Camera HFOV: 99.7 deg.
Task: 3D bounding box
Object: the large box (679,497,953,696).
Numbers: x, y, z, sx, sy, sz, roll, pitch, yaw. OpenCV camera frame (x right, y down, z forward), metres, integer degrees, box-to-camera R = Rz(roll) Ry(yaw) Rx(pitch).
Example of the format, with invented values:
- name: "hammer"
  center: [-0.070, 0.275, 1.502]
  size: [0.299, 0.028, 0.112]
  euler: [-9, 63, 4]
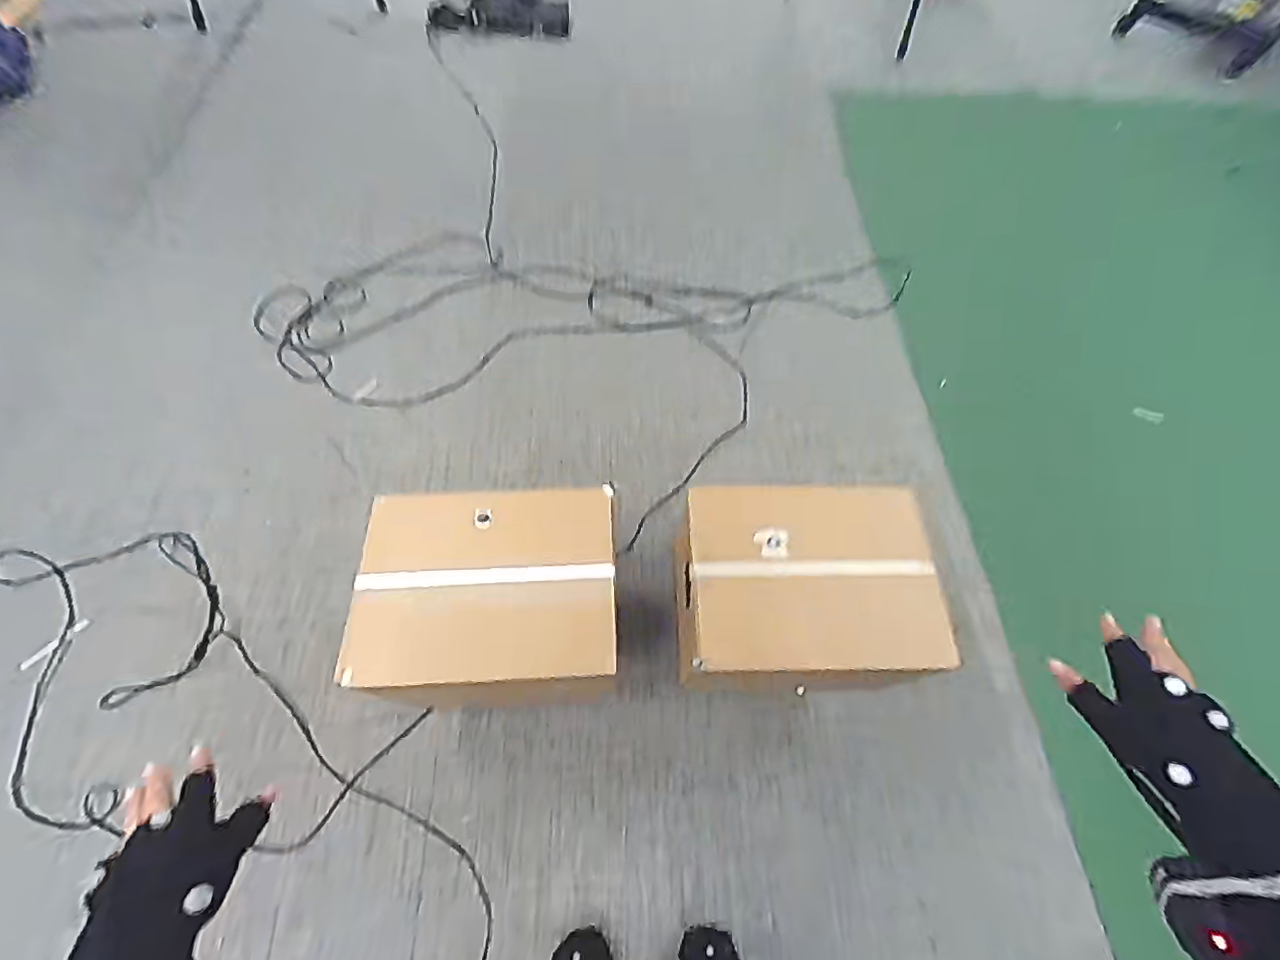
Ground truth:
- name: "large box"
  center: [0.292, 0.237, 1.041]
  size: [0.408, 0.320, 0.320]
  euler: [0, 62, -1]
